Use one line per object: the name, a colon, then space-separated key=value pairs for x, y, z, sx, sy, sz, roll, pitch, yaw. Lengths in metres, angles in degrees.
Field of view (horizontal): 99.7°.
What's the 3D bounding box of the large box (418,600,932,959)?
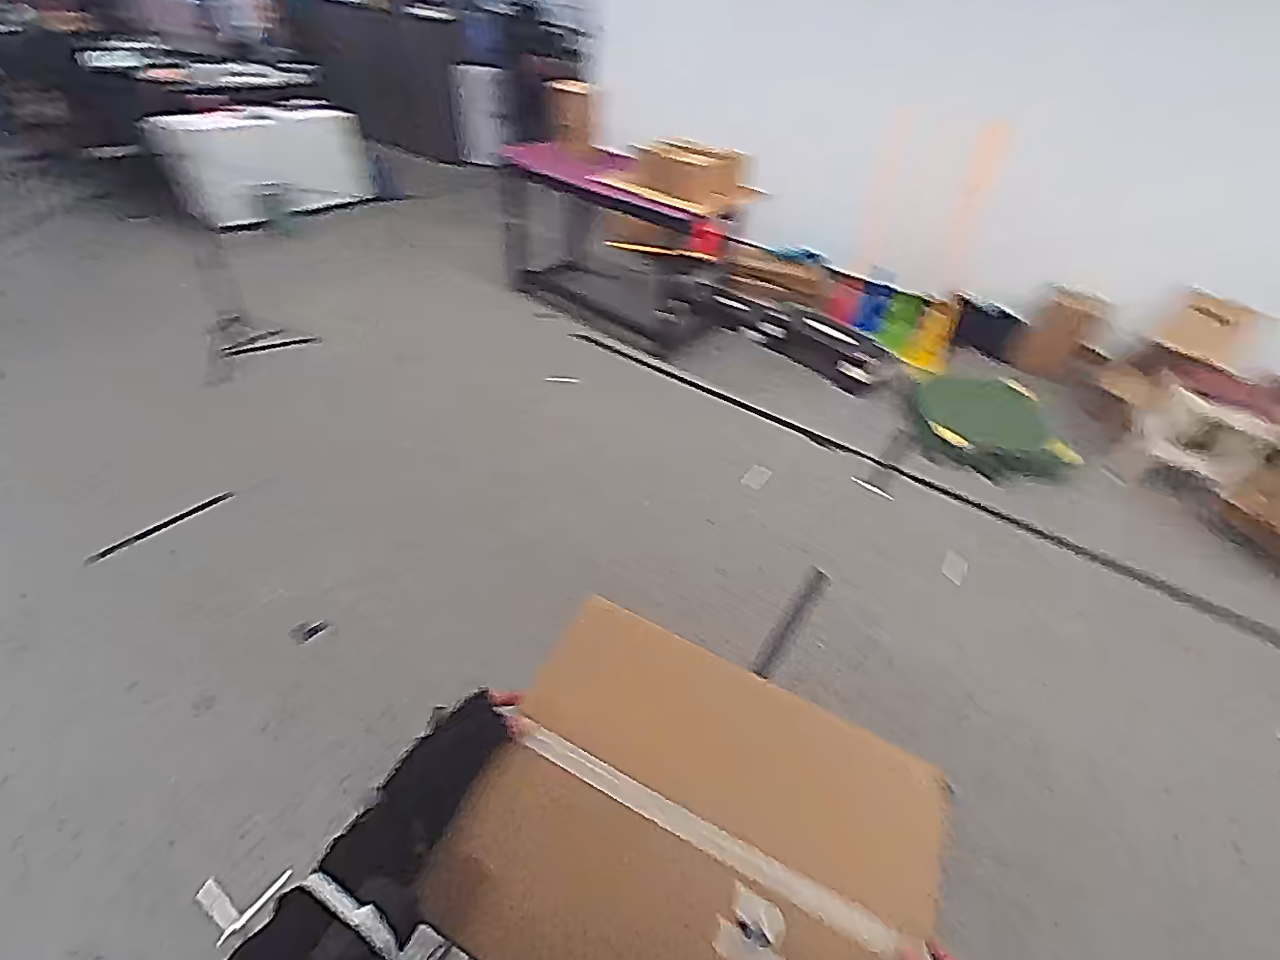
large box: x=0.039 y=0.407 z=0.616 sx=0.408 sy=0.320 sz=0.320 roll=24 pitch=55 yaw=12
